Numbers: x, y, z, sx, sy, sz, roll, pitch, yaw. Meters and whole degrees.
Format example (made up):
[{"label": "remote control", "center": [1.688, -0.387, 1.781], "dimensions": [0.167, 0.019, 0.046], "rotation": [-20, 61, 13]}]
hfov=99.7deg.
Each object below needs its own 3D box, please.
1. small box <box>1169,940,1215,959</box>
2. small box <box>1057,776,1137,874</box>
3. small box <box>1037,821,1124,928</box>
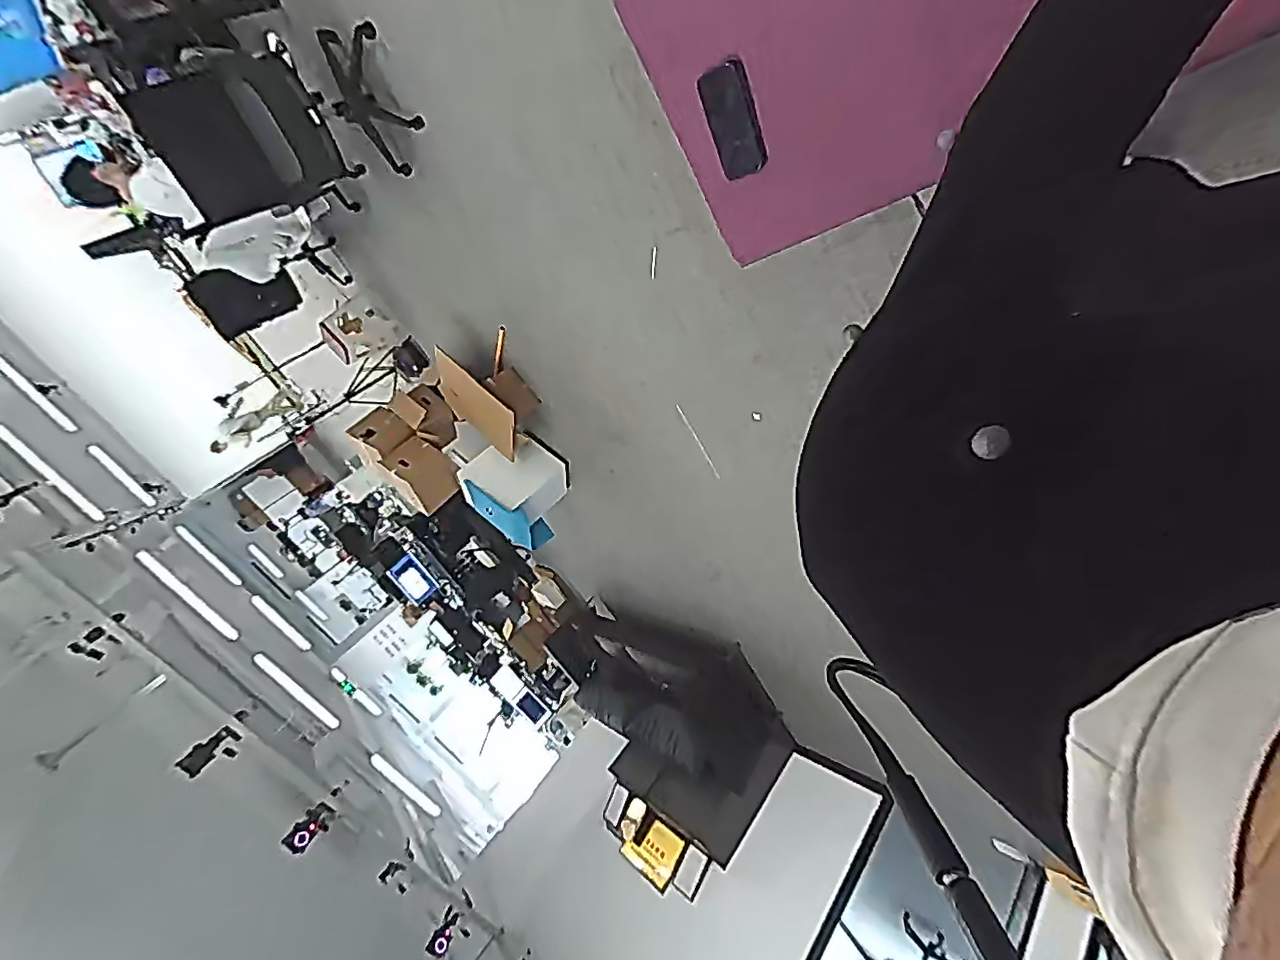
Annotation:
[{"label": "small box", "center": [1.421, 1.308, 1.337], "dimensions": [0.168, 0.176, 0.179], "rotation": [4, 131, 51]}, {"label": "small box", "center": [1.453, 1.091, 1.714], "dimensions": [0.168, 0.176, 0.179], "rotation": [9, 134, 50]}, {"label": "small box", "center": [1.339, 1.186, 1.641], "dimensions": [0.168, 0.176, 0.179], "rotation": [4, 130, 53]}]
